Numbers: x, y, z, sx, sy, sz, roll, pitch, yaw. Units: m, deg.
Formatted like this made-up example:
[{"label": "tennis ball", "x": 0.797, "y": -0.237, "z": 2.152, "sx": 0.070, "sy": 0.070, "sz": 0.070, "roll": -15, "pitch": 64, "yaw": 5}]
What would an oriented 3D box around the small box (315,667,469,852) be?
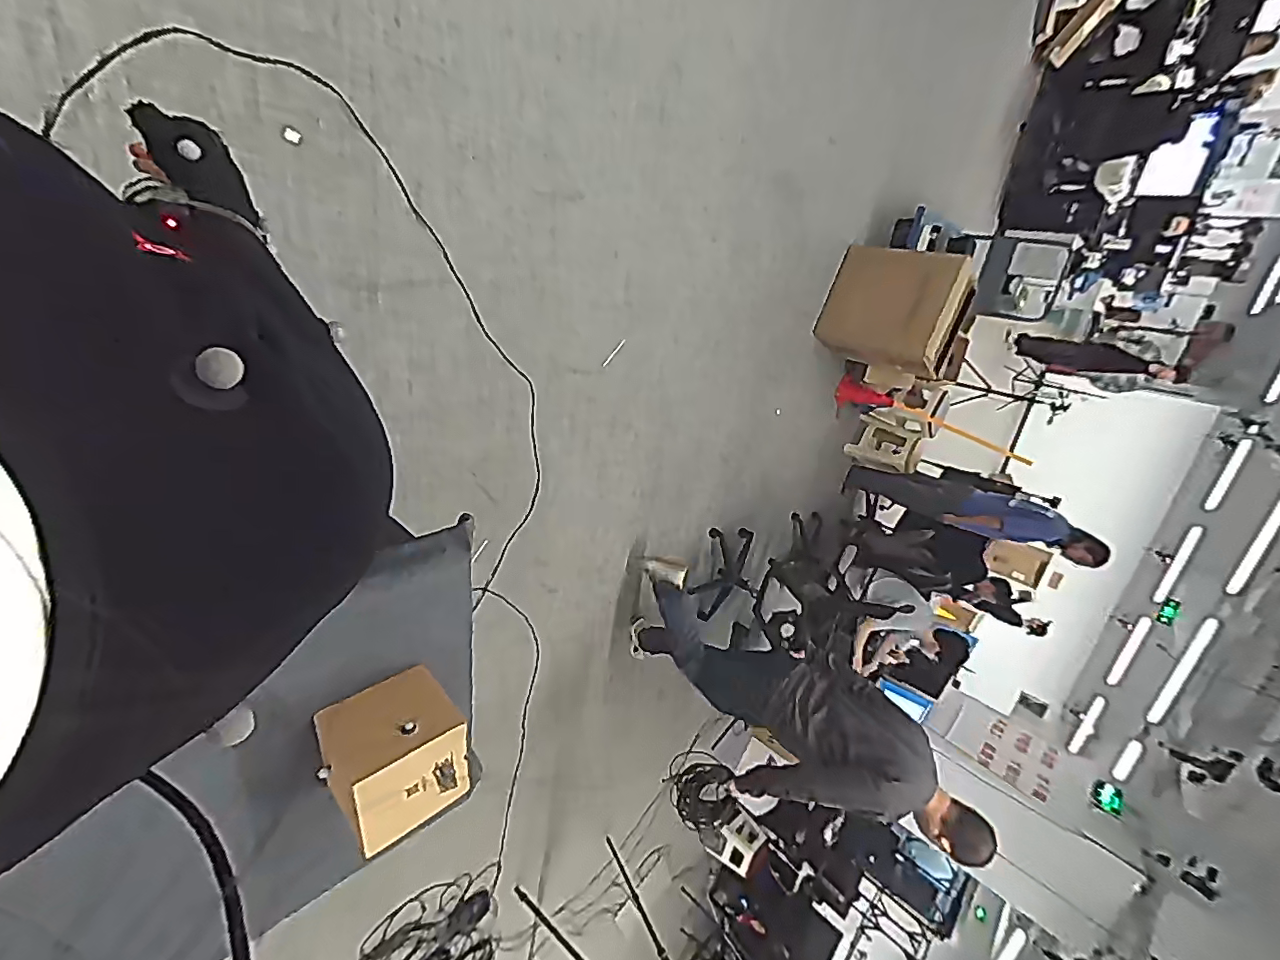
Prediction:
[{"label": "small box", "x": -0.406, "y": 0.446, "z": 0.895, "sx": 0.179, "sy": 0.176, "sz": 0.168, "roll": -18, "pitch": 123, "yaw": -42}]
